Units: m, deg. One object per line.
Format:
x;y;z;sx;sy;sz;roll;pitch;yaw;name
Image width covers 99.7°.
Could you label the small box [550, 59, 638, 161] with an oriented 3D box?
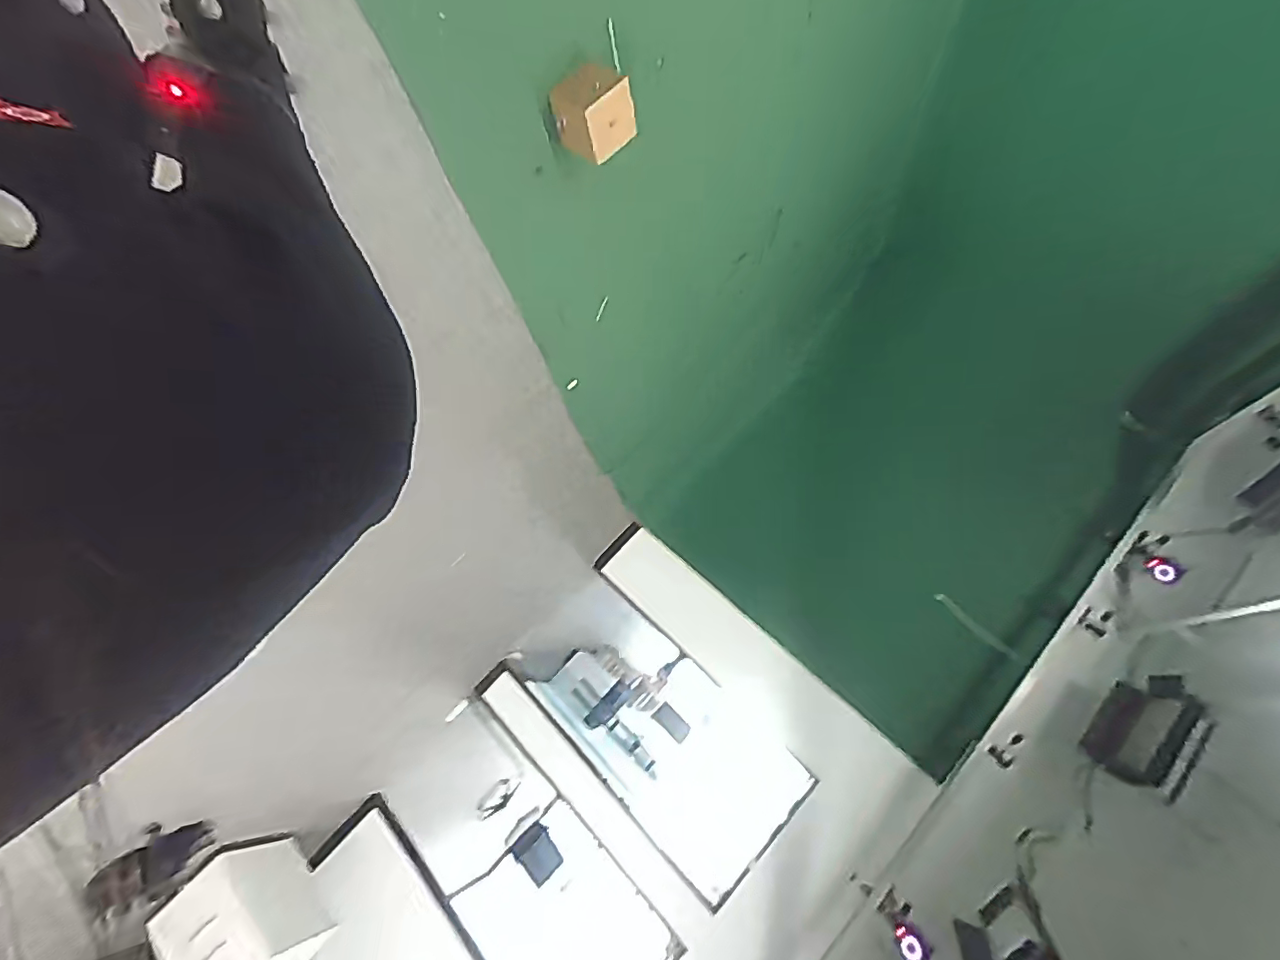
-0.133;-1.087;1.583;0.179;0.176;0.168;-45;155;-13;small box
